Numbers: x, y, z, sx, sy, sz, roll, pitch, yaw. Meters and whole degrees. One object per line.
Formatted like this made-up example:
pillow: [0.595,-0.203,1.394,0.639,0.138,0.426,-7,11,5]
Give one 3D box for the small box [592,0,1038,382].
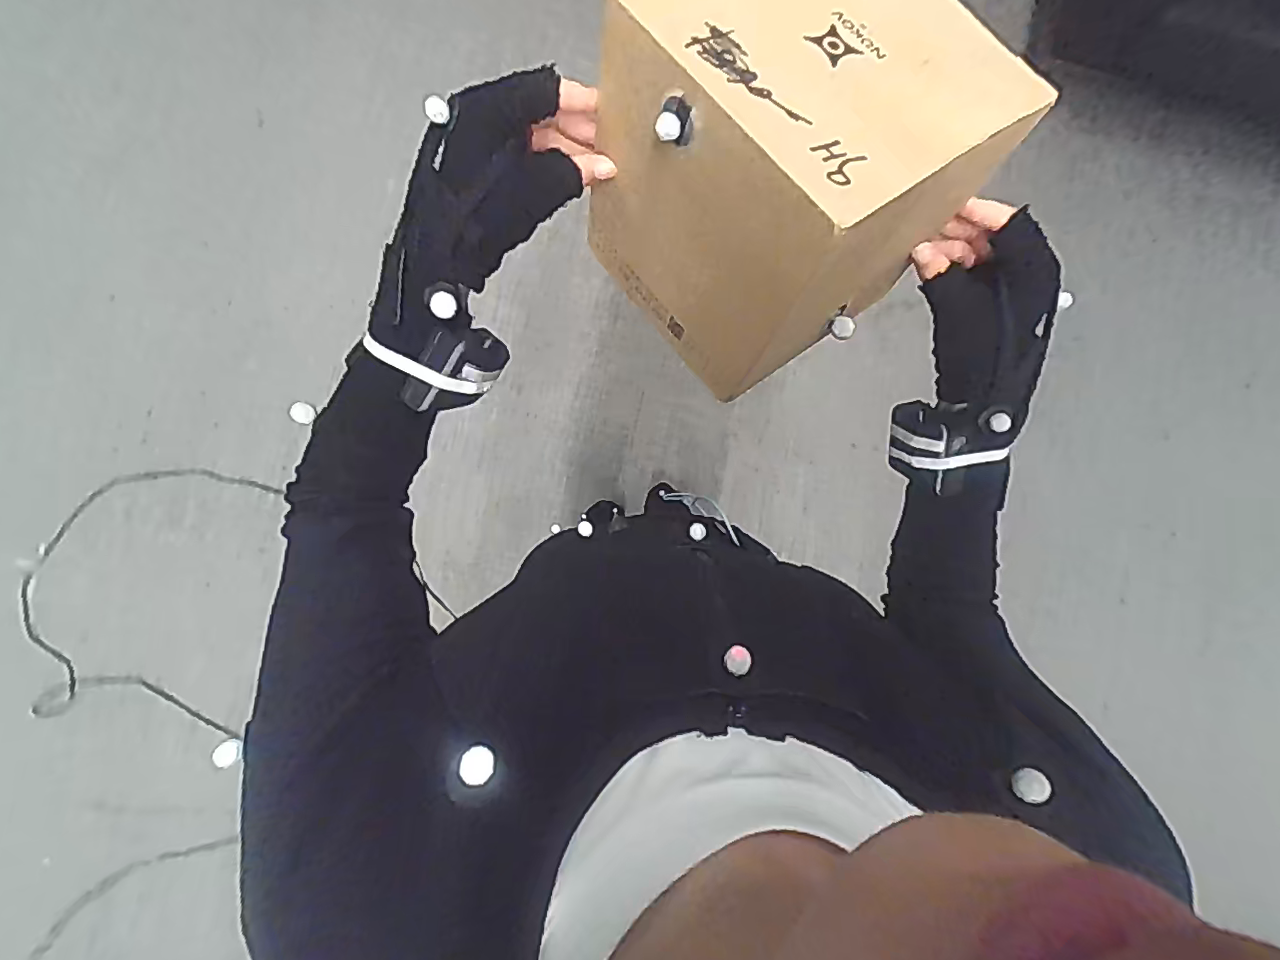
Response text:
small box: [0.085,-0.198,0.347,0.179,0.176,0.168,-36,79,-19]
